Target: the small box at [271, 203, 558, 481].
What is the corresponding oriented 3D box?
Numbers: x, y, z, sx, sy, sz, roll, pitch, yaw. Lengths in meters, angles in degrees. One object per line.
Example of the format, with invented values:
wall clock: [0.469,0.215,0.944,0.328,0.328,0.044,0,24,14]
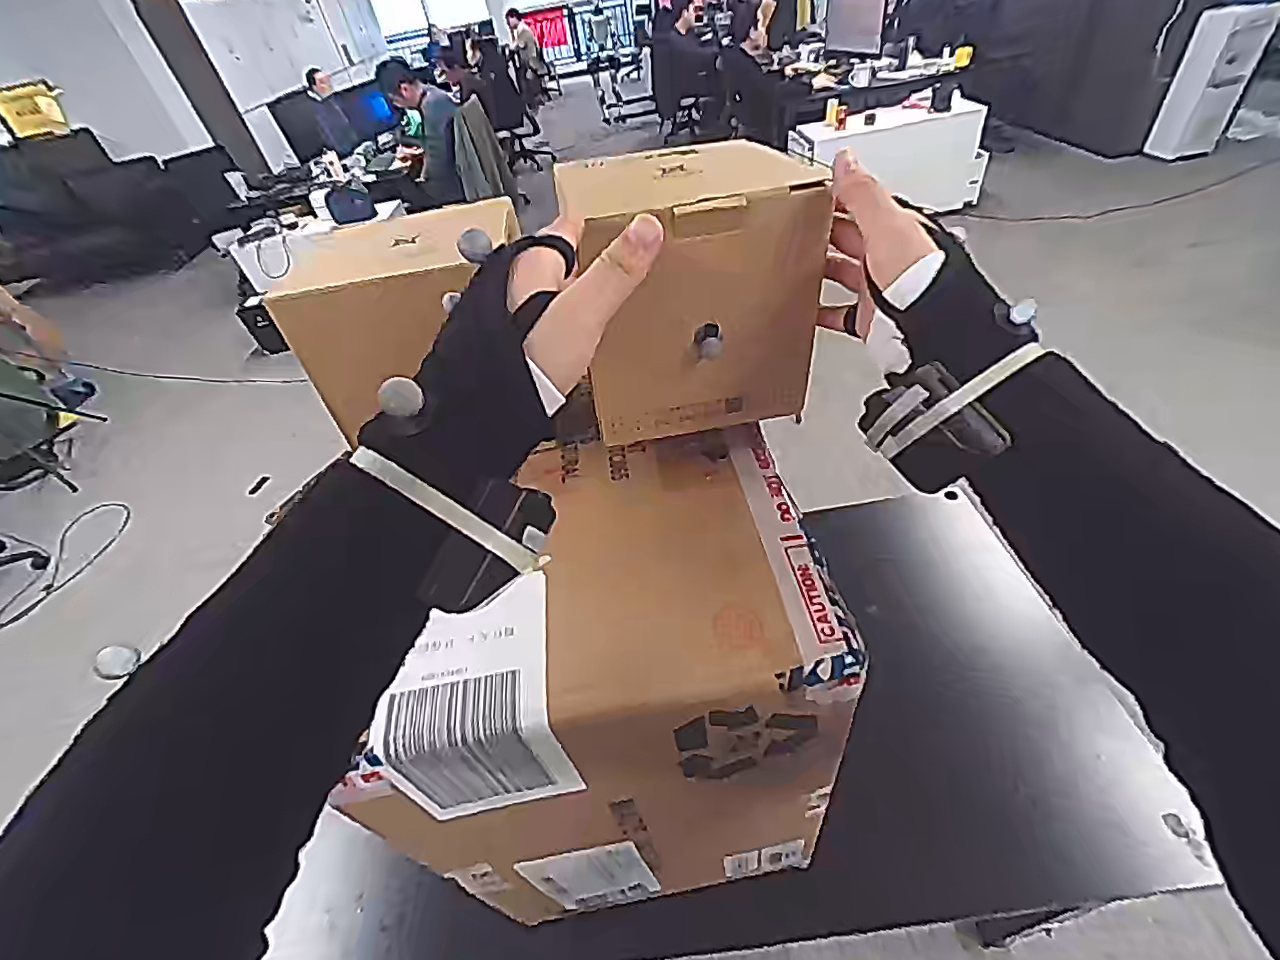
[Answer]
small box: [-0.174,-0.125,0.482,0.168,0.176,0.179,-12,41,-2]
